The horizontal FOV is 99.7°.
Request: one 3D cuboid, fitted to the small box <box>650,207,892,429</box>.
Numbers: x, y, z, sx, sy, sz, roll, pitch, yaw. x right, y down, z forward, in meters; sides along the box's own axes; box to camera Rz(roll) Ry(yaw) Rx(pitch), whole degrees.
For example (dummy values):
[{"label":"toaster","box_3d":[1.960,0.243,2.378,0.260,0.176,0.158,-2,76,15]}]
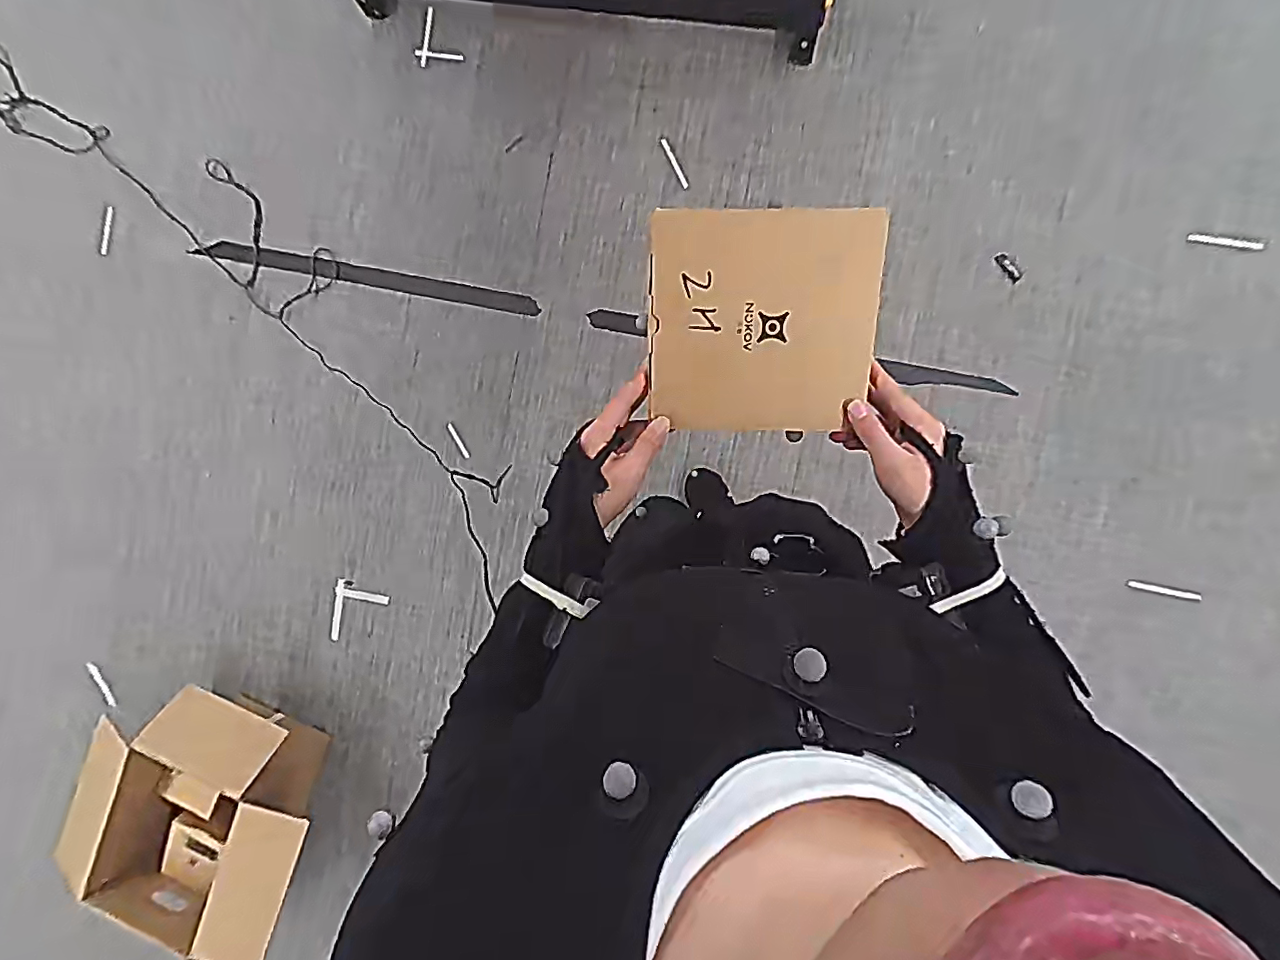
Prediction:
[{"label":"small box","box_3d":[0.100,-0.145,0.496,0.179,0.176,0.168,2,106,3]}]
